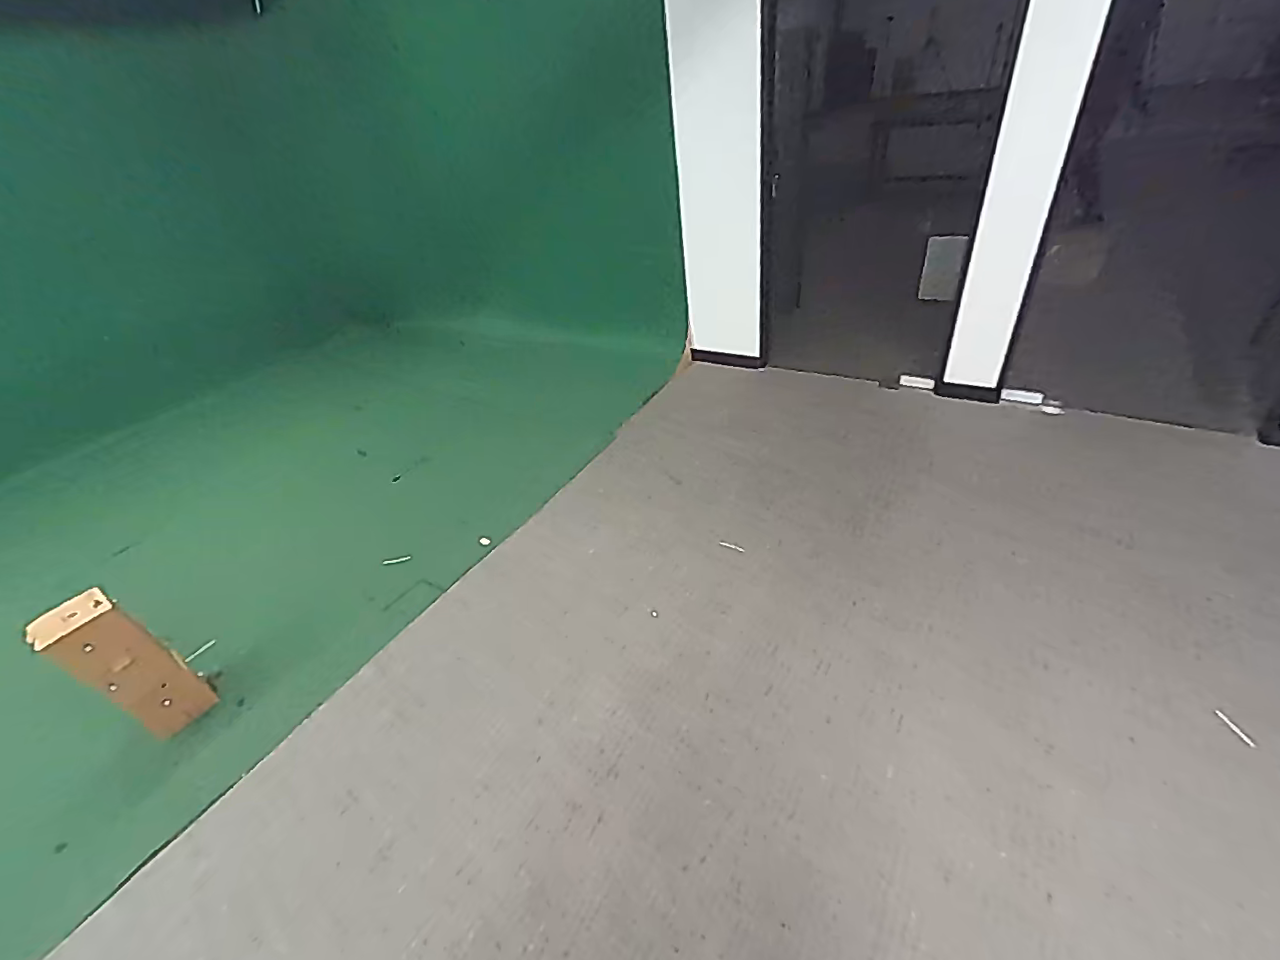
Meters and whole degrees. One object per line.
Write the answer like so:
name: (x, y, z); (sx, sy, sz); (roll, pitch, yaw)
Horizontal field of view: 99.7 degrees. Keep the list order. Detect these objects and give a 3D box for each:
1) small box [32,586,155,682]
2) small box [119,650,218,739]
small box: (-1.583, 0.449, 1.573); (0.168, 0.176, 0.179); (18, 45, 32)
small box: (-1.535, 0.703, 1.775); (0.168, 0.176, 0.179); (20, 46, 32)
